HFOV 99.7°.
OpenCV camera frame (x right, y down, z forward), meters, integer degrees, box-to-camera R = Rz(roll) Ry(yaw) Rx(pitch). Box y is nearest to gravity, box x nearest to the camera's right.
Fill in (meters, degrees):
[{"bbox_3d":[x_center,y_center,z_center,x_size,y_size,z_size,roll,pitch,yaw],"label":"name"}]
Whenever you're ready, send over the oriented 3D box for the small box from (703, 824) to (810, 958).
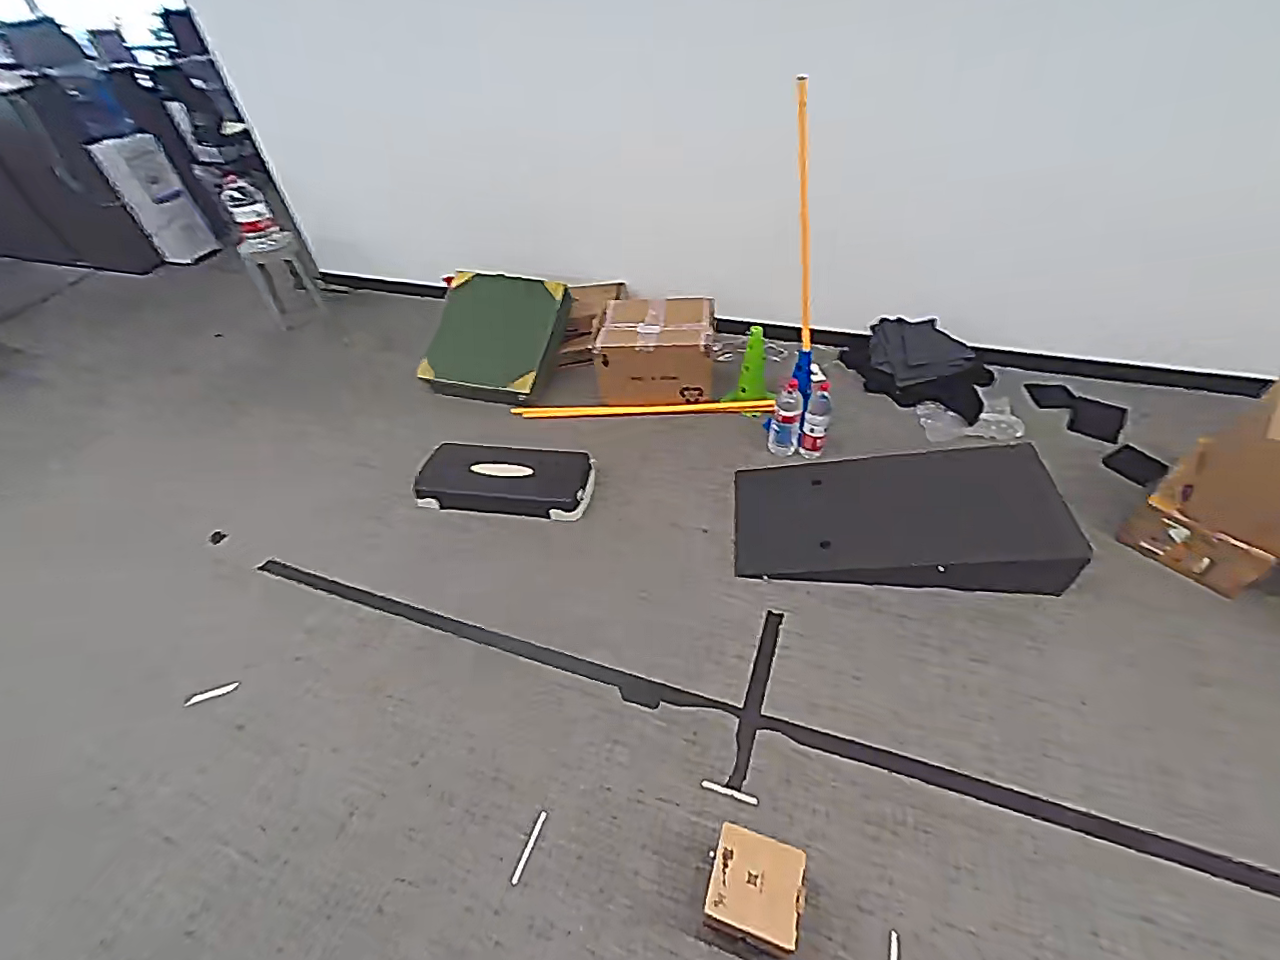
[{"bbox_3d":[0.236,0.848,1.116,0.179,0.176,0.168,13,48,17],"label":"small box"}]
